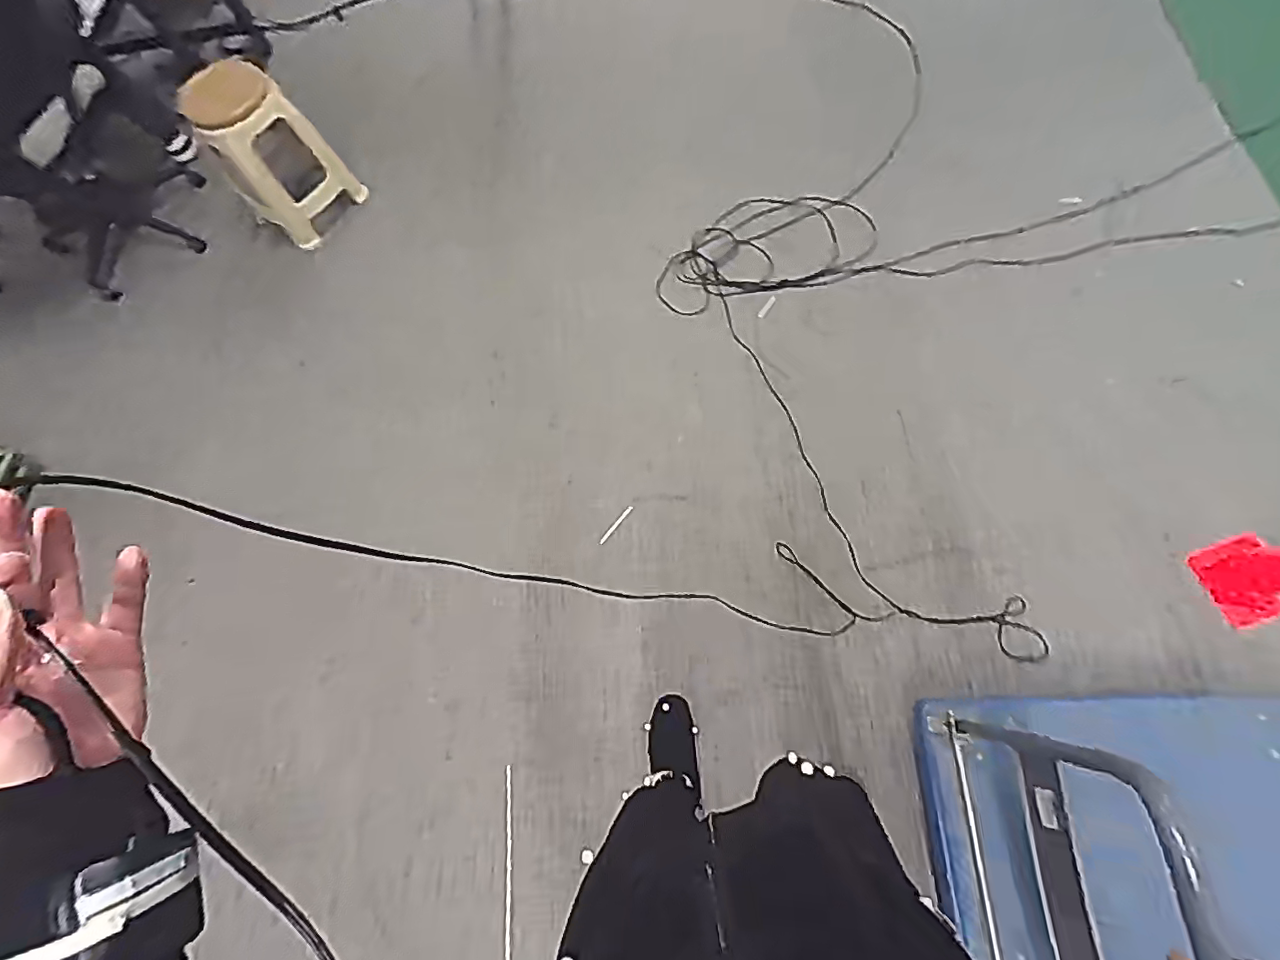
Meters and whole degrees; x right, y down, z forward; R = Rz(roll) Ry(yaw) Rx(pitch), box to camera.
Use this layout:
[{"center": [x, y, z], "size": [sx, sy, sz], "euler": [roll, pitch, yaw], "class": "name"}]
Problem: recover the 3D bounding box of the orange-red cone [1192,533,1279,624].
[{"center": [1.523, 0.188, 1.213], "size": [0.198, 0.360, 0.199], "euler": [-19, 68, -2], "class": "orange-red cone"}]
